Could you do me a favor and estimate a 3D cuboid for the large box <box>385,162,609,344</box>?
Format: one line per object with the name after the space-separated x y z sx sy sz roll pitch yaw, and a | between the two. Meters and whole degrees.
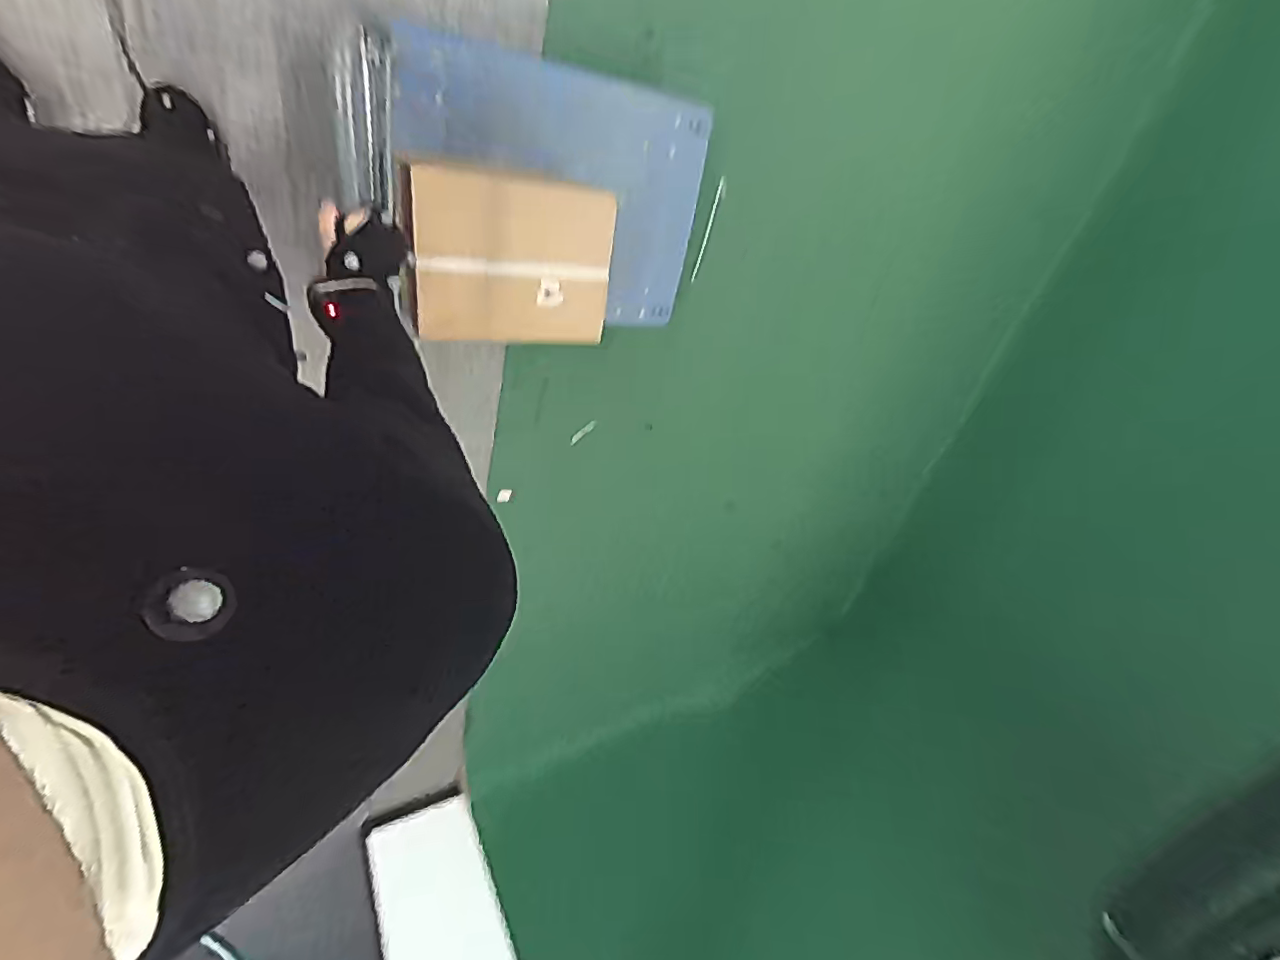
-0.329 -0.510 1.223 0.408 0.320 0.320 -8 126 -29 | large box
